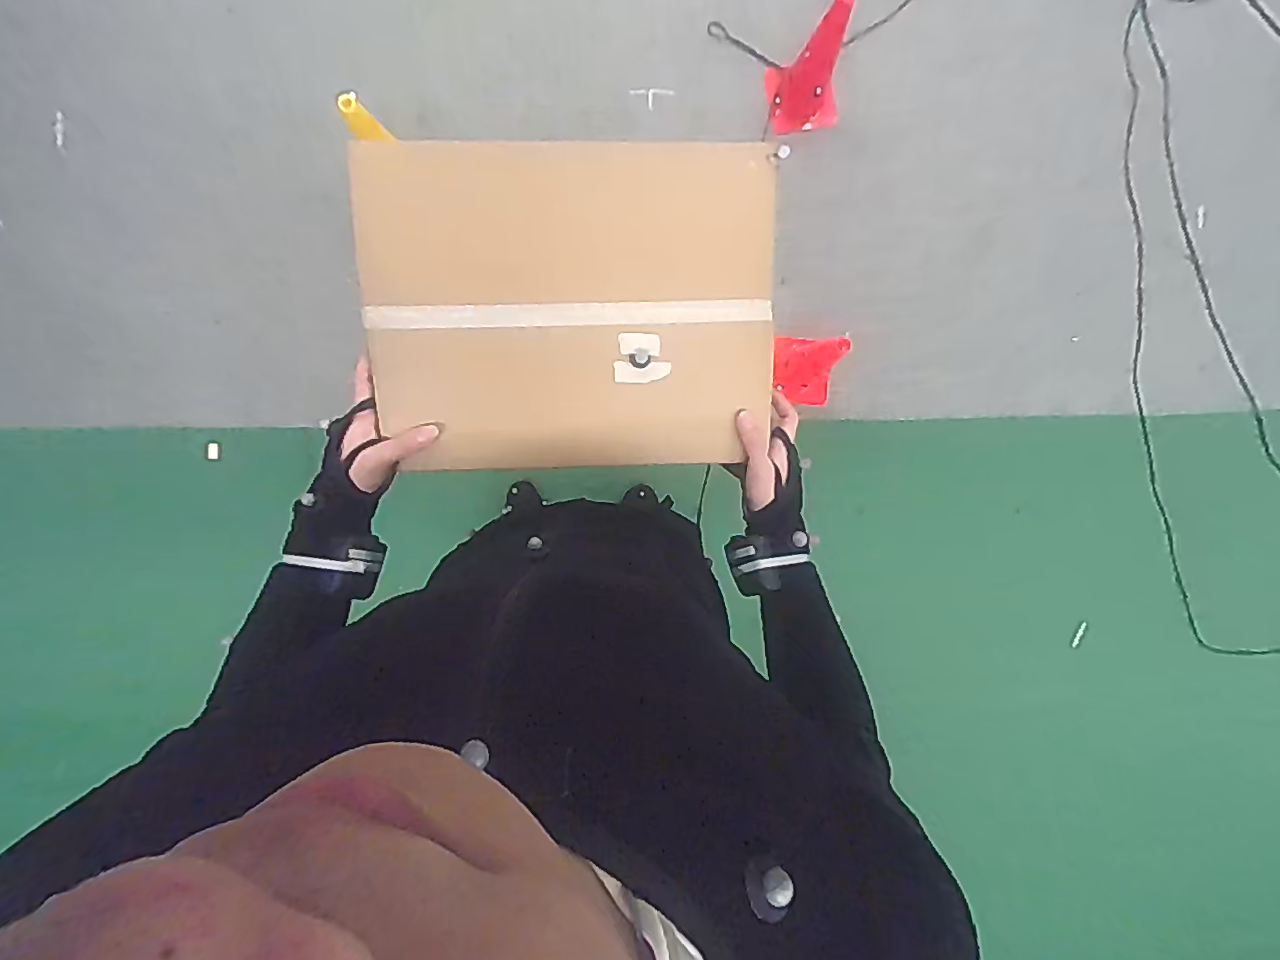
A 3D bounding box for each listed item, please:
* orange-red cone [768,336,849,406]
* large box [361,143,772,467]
[{"bbox_3d":[0.480,-0.327,1.476,0.199,0.360,0.198,7,92,-3],"label":"orange-red cone"},{"bbox_3d":[-0.074,-0.201,0.695,0.408,0.320,0.320,-2,102,-4],"label":"large box"}]
